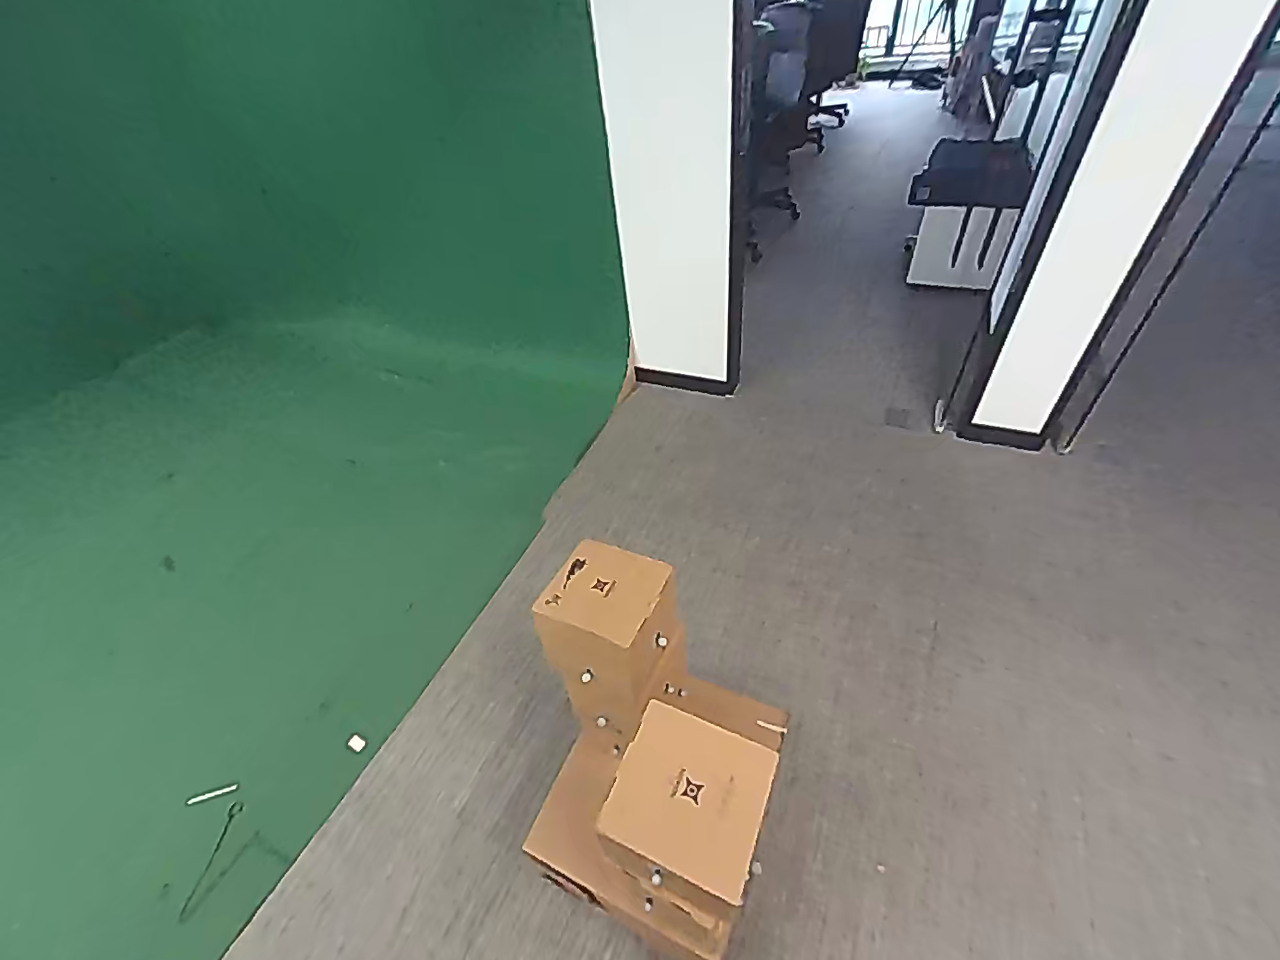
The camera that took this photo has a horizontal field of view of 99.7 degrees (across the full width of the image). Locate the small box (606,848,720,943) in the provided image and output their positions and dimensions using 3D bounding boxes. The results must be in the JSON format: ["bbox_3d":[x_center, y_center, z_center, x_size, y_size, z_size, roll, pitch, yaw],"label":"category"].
[{"bbox_3d":[0.067,0.542,0.810,0.168,0.176,0.179,19,49,23],"label":"small box"}]

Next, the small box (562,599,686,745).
[{"bbox_3d":[-0.023,0.362,1.015,0.168,0.176,0.179,16,46,23],"label":"small box"}]

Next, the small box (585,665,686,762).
[{"bbox_3d":[-0.011,0.475,1.136,0.168,0.176,0.179,14,44,22],"label":"small box"}]

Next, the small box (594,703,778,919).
[{"bbox_3d":[0.063,0.426,0.695,0.179,0.176,0.168,16,49,20],"label":"small box"}]
